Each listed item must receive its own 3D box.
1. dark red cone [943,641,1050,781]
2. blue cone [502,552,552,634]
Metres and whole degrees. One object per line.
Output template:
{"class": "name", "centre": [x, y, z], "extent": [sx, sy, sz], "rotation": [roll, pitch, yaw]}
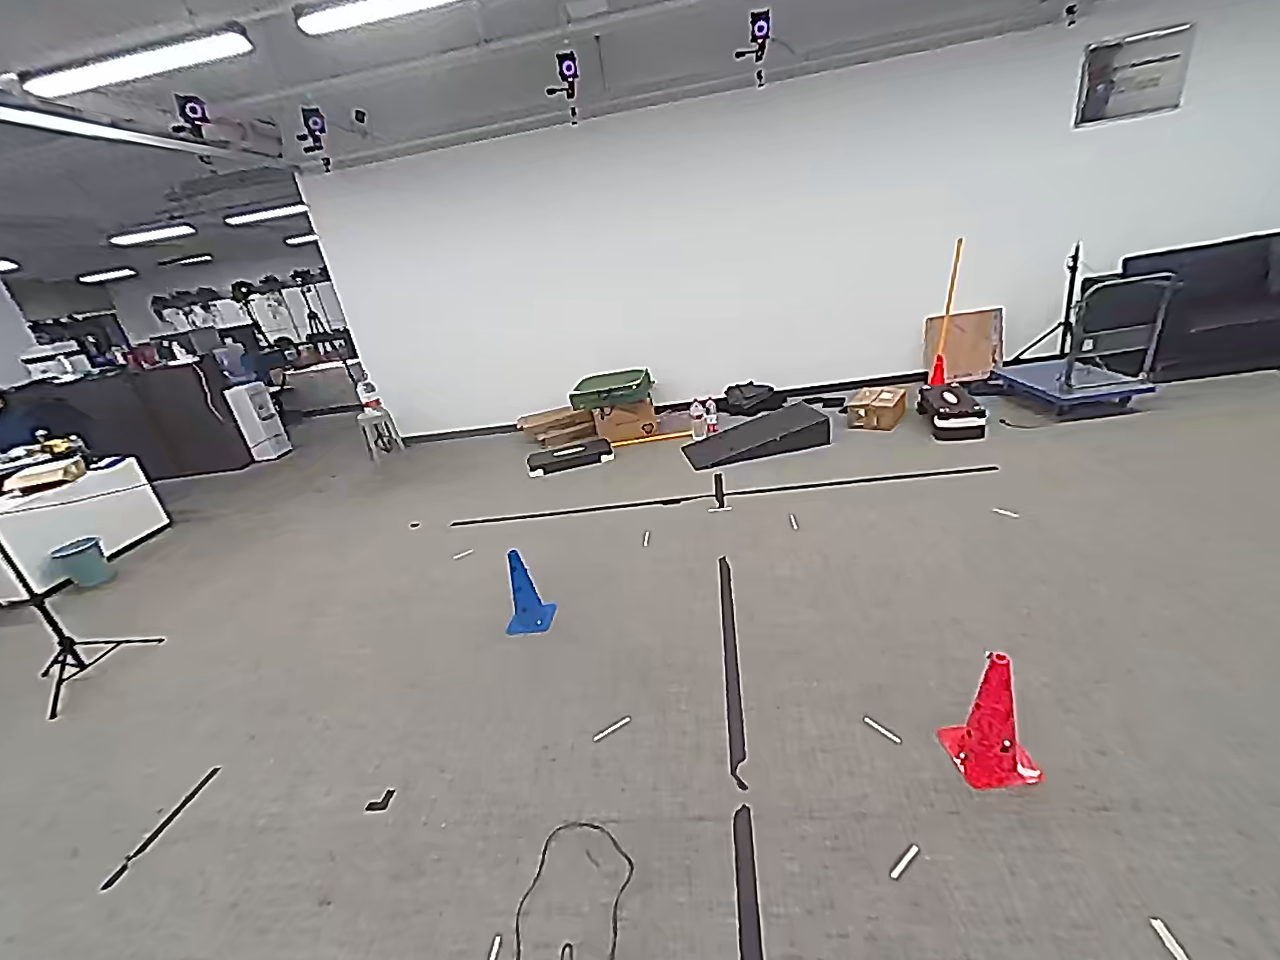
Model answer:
{"class": "dark red cone", "centre": [0.957, 0.592, 1.443], "extent": [0.201, 0.394, 0.202], "rotation": [-10, 23, 2]}
{"class": "blue cone", "centre": [-0.529, 0.481, 2.380], "extent": [0.192, 0.380, 0.193], "rotation": [-7, 23, 10]}
